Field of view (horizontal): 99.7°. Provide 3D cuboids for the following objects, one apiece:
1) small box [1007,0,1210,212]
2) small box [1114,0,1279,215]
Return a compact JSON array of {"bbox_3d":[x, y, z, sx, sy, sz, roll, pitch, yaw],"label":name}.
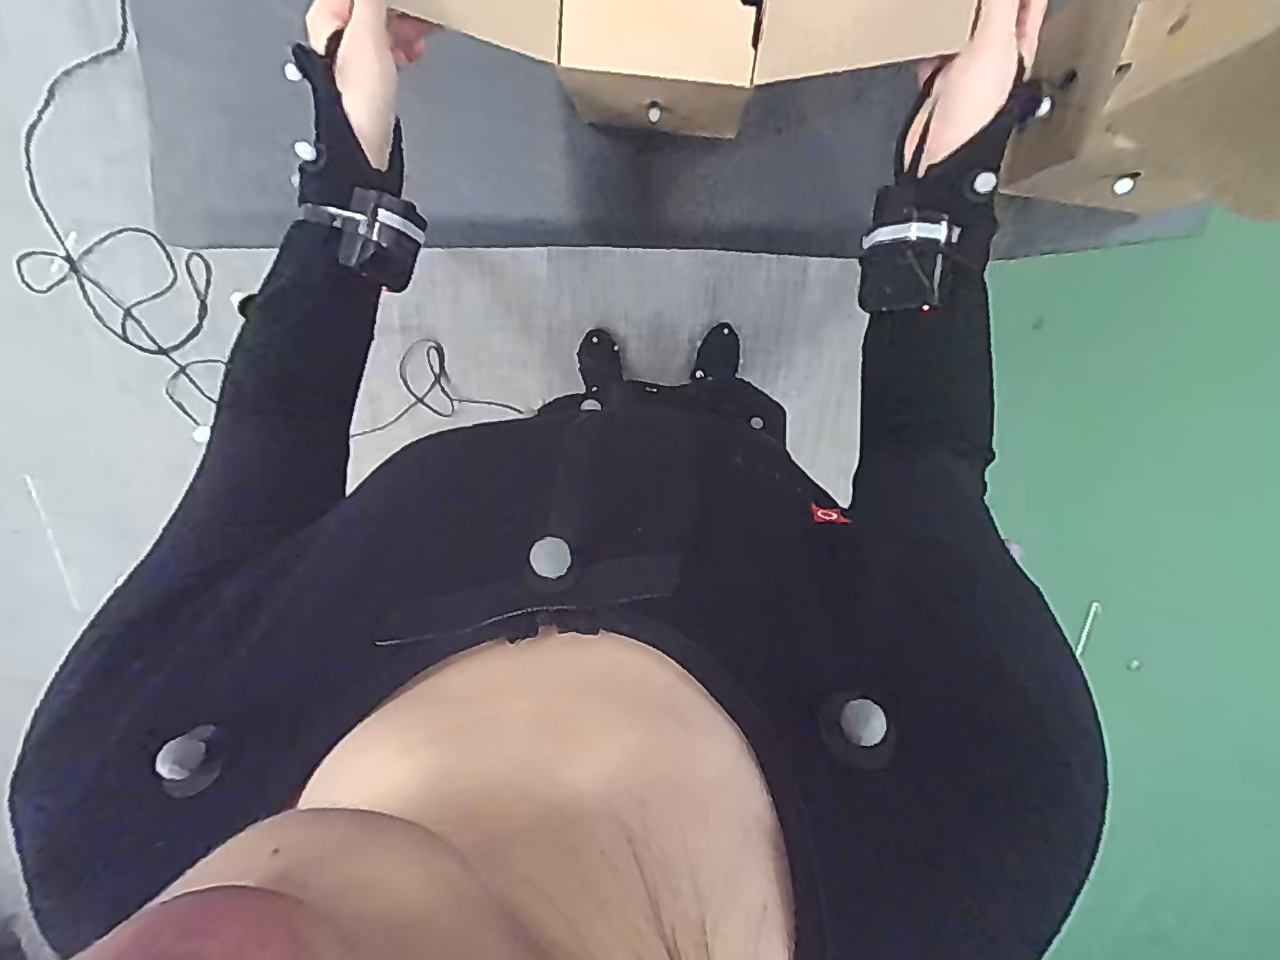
[{"bbox_3d":[0.495,-0.364,0.508,0.179,0.176,0.168,9,106,1],"label":"small box"},{"bbox_3d":[0.488,-0.303,0.356,0.179,0.176,0.168,29,105,-6],"label":"small box"}]
